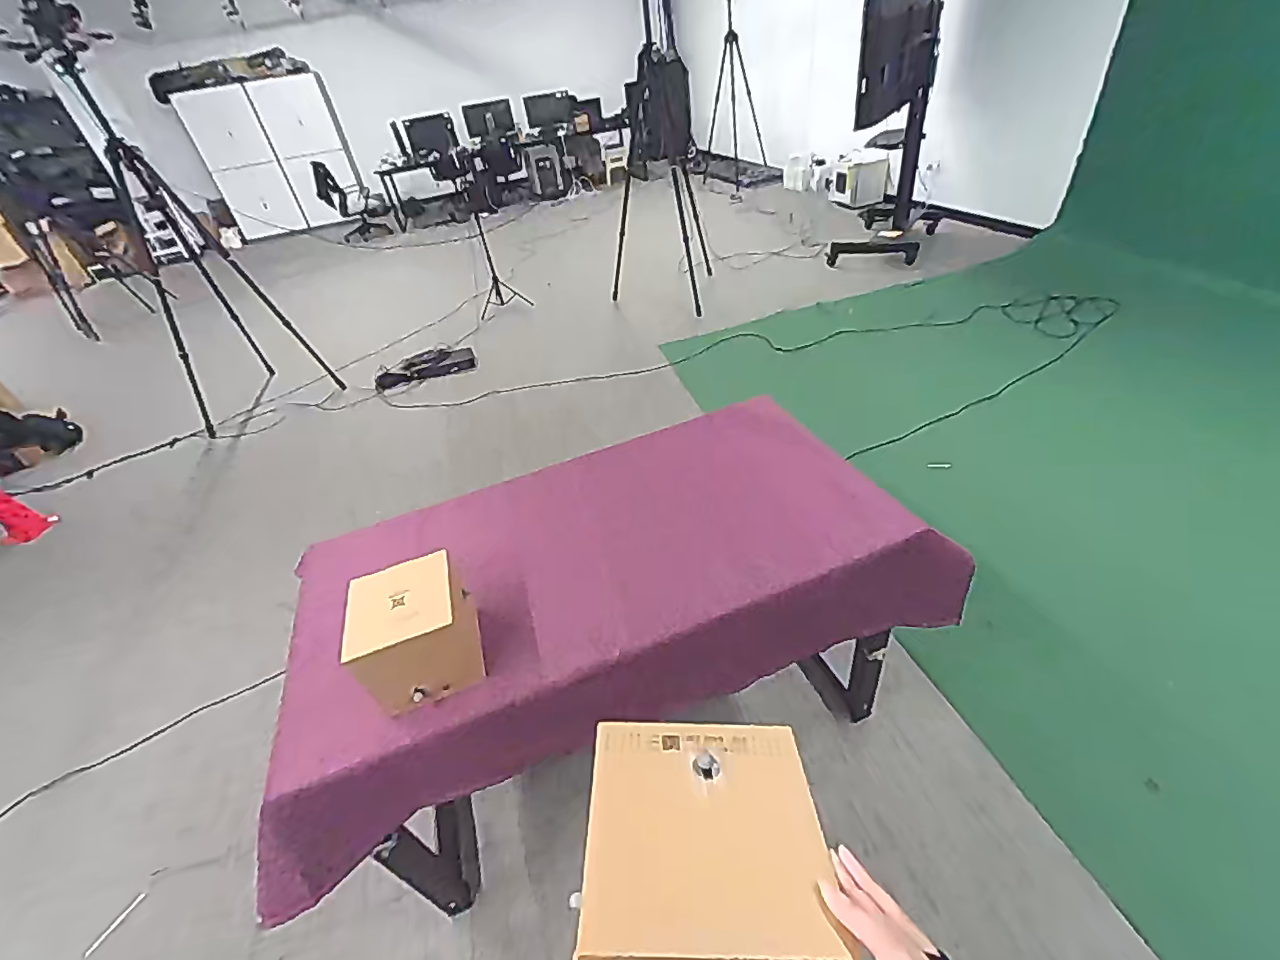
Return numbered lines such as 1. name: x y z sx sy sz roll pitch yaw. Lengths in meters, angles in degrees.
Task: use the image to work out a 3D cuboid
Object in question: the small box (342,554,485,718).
1. small box: -0.374 0.263 0.916 0.168 0.176 0.179 -19 39 -10
